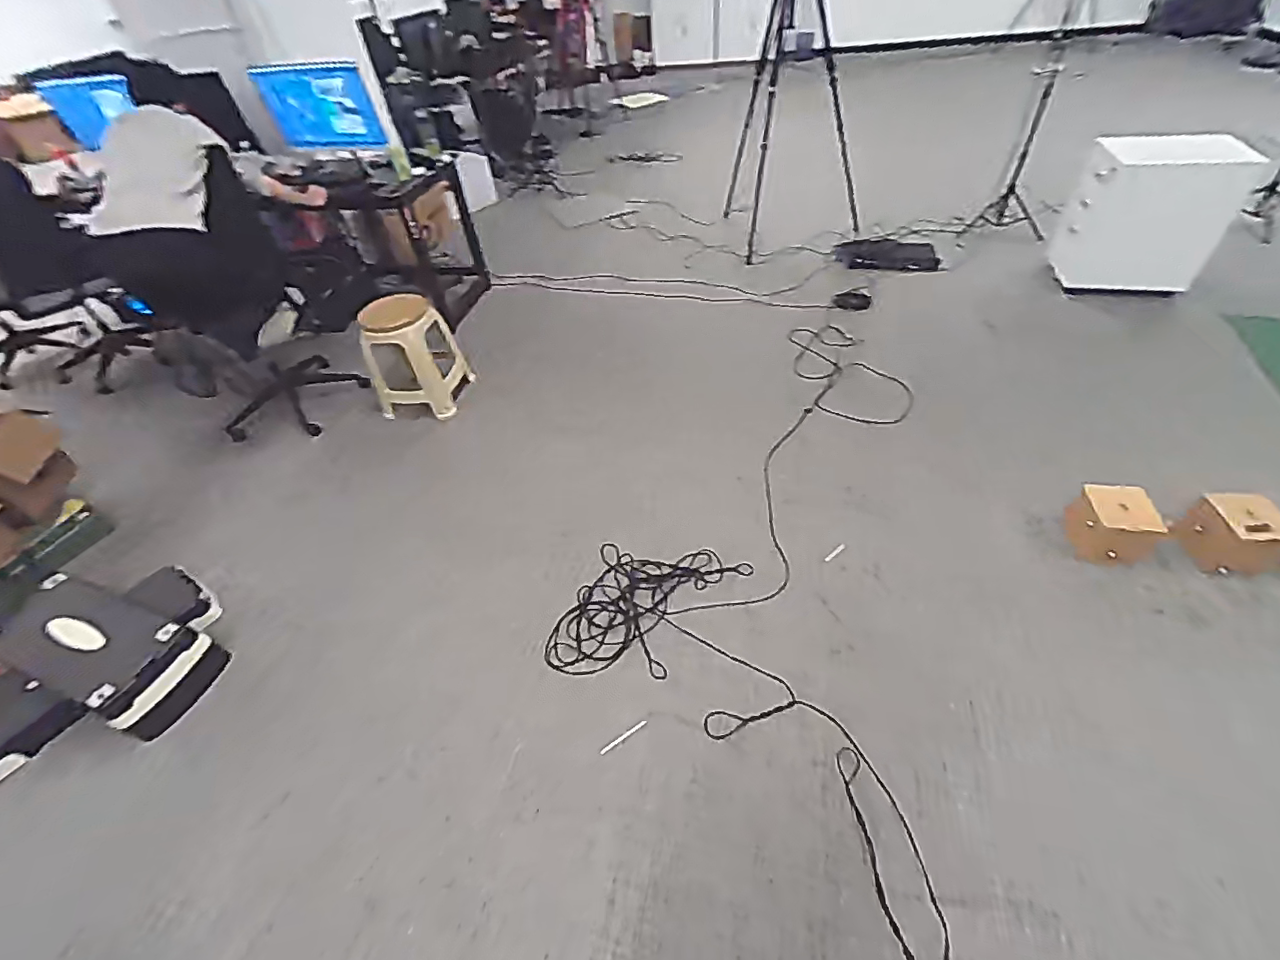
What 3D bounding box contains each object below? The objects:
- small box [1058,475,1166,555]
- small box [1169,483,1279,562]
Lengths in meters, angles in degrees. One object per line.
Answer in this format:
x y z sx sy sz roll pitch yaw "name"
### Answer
1.434 0.107 1.659 0.168 0.176 0.179 3 48 11 "small box"
1.745 0.127 1.597 0.168 0.176 0.179 0 46 7 "small box"
